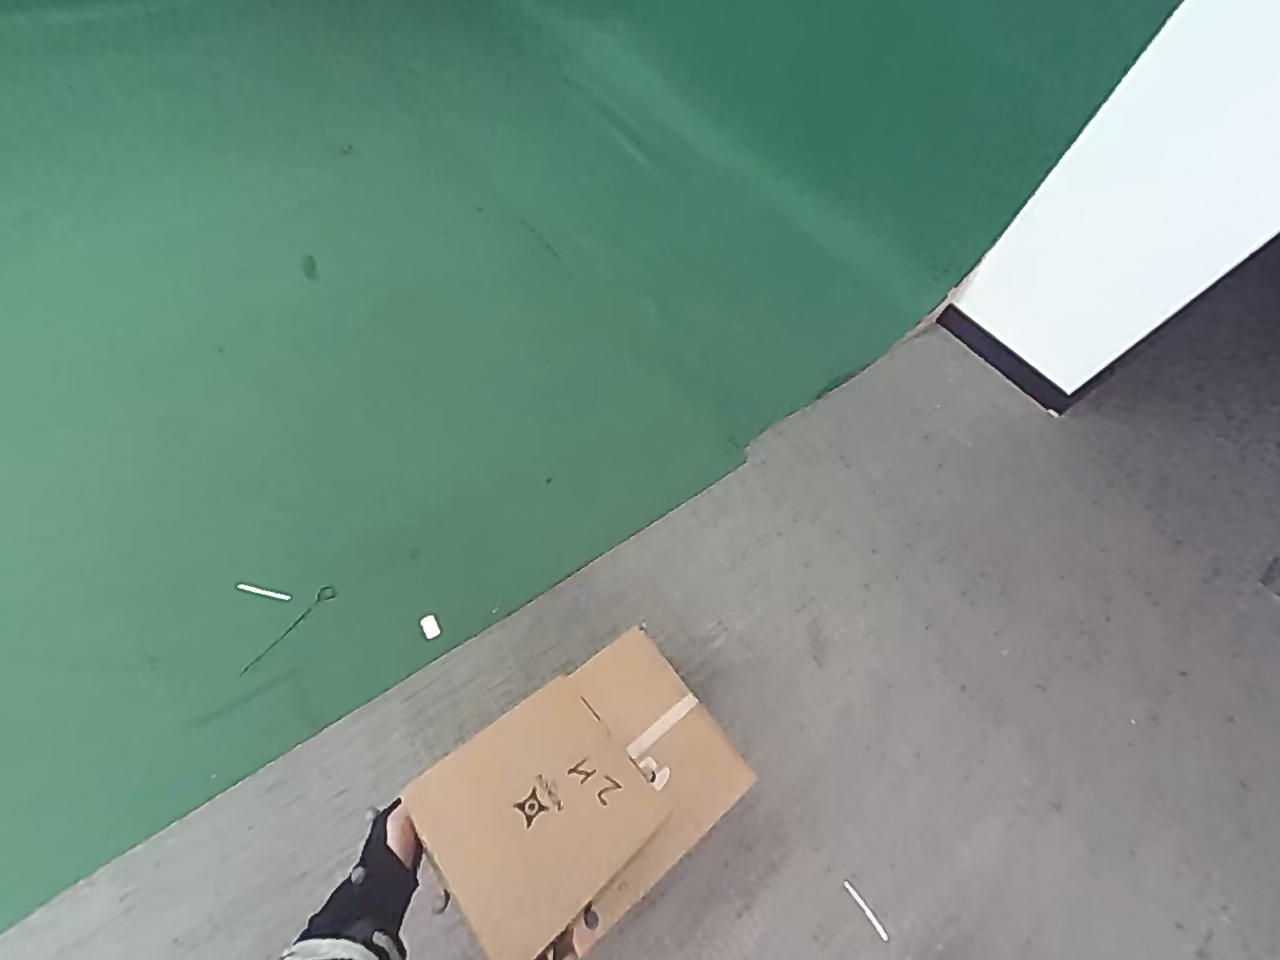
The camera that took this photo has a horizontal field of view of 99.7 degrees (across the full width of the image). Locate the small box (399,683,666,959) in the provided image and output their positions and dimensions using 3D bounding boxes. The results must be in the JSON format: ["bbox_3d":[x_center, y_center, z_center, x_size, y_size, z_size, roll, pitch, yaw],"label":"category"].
[{"bbox_3d":[-0.103,0.343,0.522,0.179,0.176,0.168,-26,57,-35],"label":"small box"}]

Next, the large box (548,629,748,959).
[{"bbox_3d":[-0.087,0.544,0.958,0.408,0.320,0.320,-31,69,-23],"label":"large box"}]
